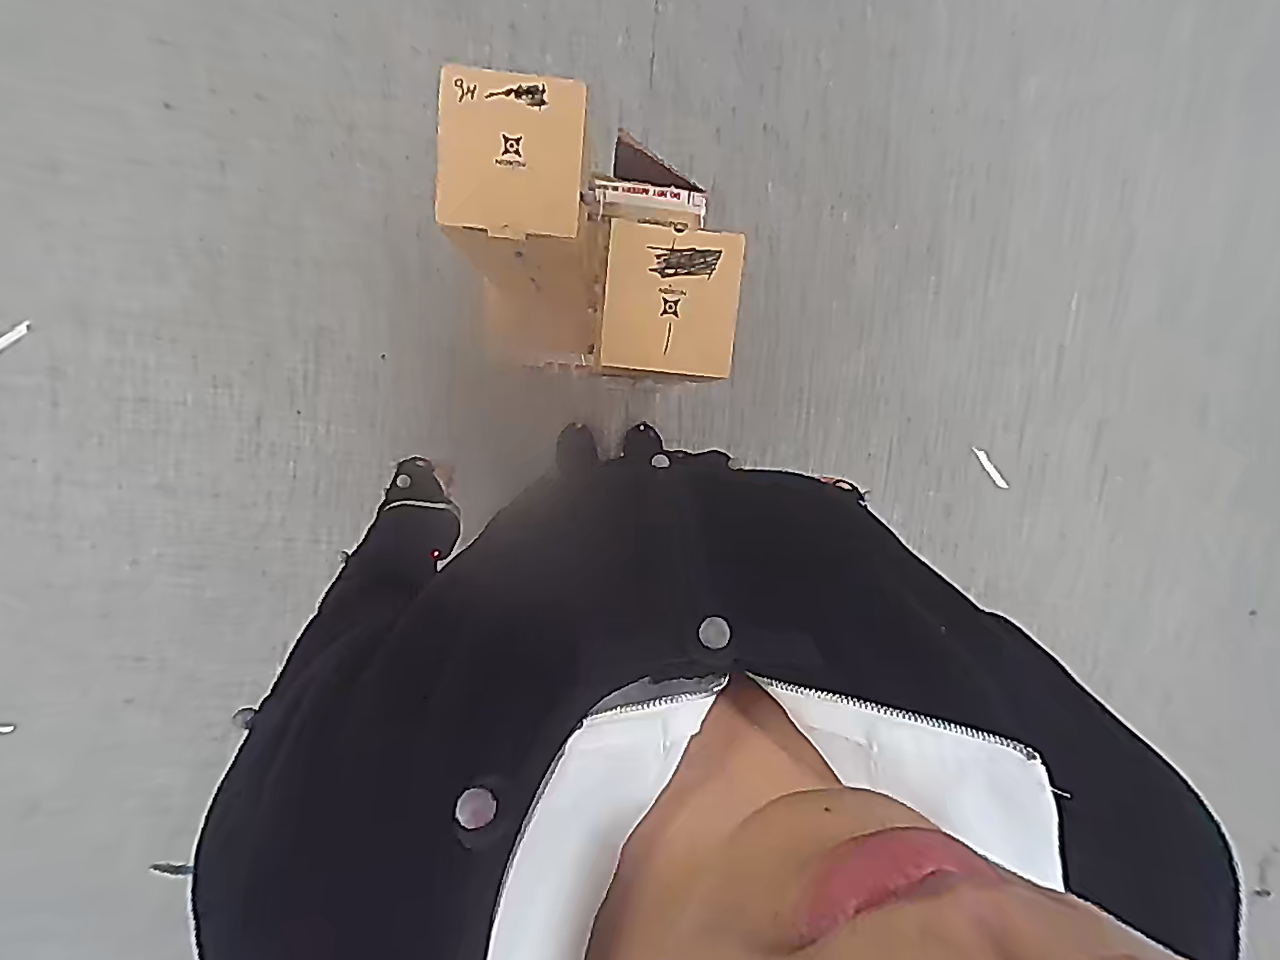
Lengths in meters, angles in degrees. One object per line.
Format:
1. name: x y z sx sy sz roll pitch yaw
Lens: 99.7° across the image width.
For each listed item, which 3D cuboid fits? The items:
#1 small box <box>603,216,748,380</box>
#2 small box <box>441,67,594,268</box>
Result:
1. small box: 0.038 -0.235 0.741 0.168 0.176 0.179 5 99 -5
2. small box: -0.149 -0.386 0.704 0.168 0.176 0.179 4 99 -4
